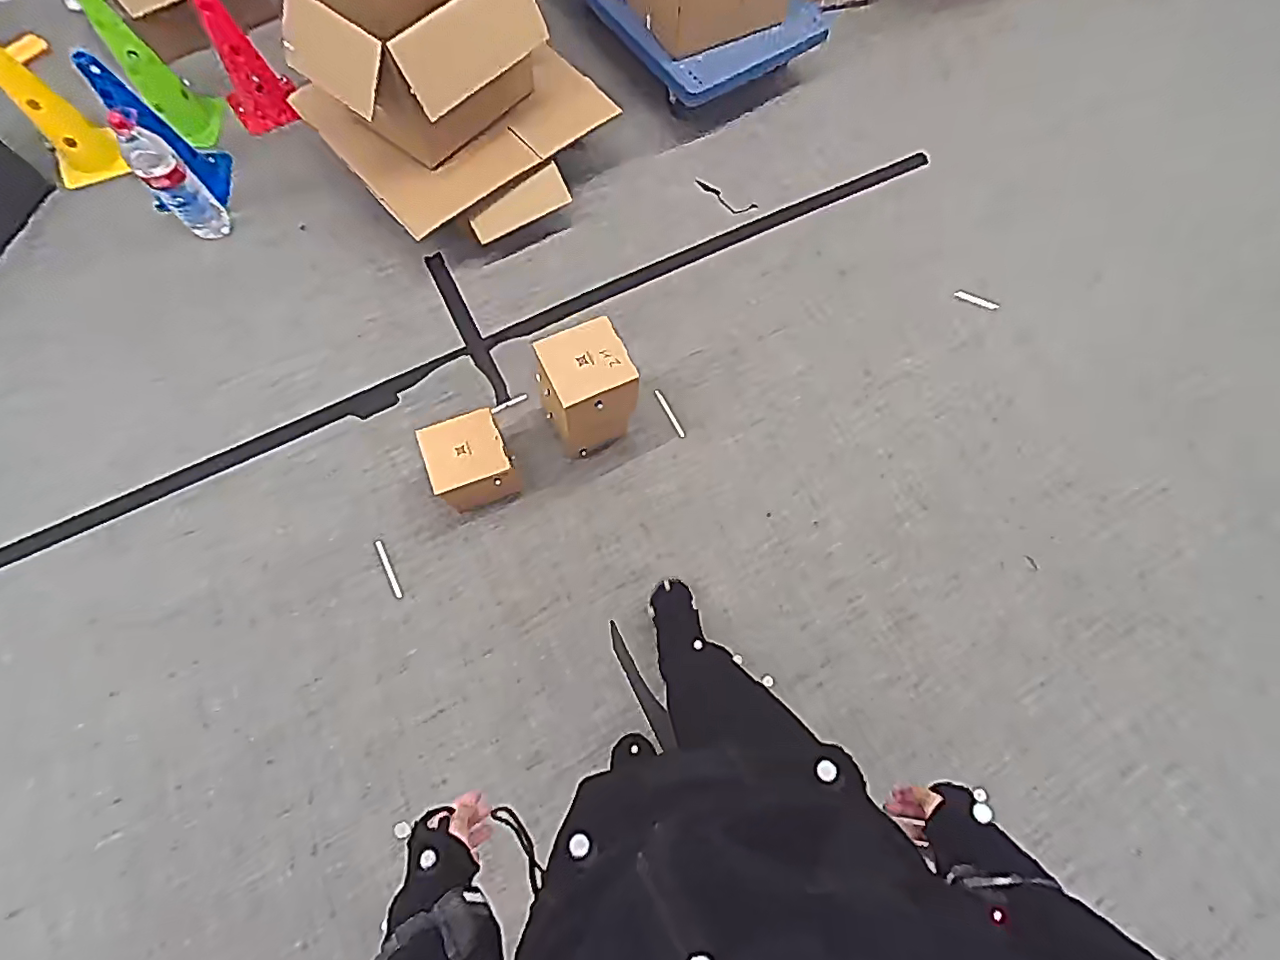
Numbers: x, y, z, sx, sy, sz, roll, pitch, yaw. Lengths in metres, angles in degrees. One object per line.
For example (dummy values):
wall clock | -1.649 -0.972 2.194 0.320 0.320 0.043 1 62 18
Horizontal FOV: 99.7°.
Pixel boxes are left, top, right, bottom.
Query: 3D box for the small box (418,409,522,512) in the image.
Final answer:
small box | -0.398 -0.040 1.288 0.179 0.176 0.168 -21 74 -10

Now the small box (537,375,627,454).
small box | -0.138 -0.183 1.351 0.168 0.176 0.179 -27 75 -12

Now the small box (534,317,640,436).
small box | -0.115 -0.221 1.191 0.179 0.176 0.168 -24 76 -12
